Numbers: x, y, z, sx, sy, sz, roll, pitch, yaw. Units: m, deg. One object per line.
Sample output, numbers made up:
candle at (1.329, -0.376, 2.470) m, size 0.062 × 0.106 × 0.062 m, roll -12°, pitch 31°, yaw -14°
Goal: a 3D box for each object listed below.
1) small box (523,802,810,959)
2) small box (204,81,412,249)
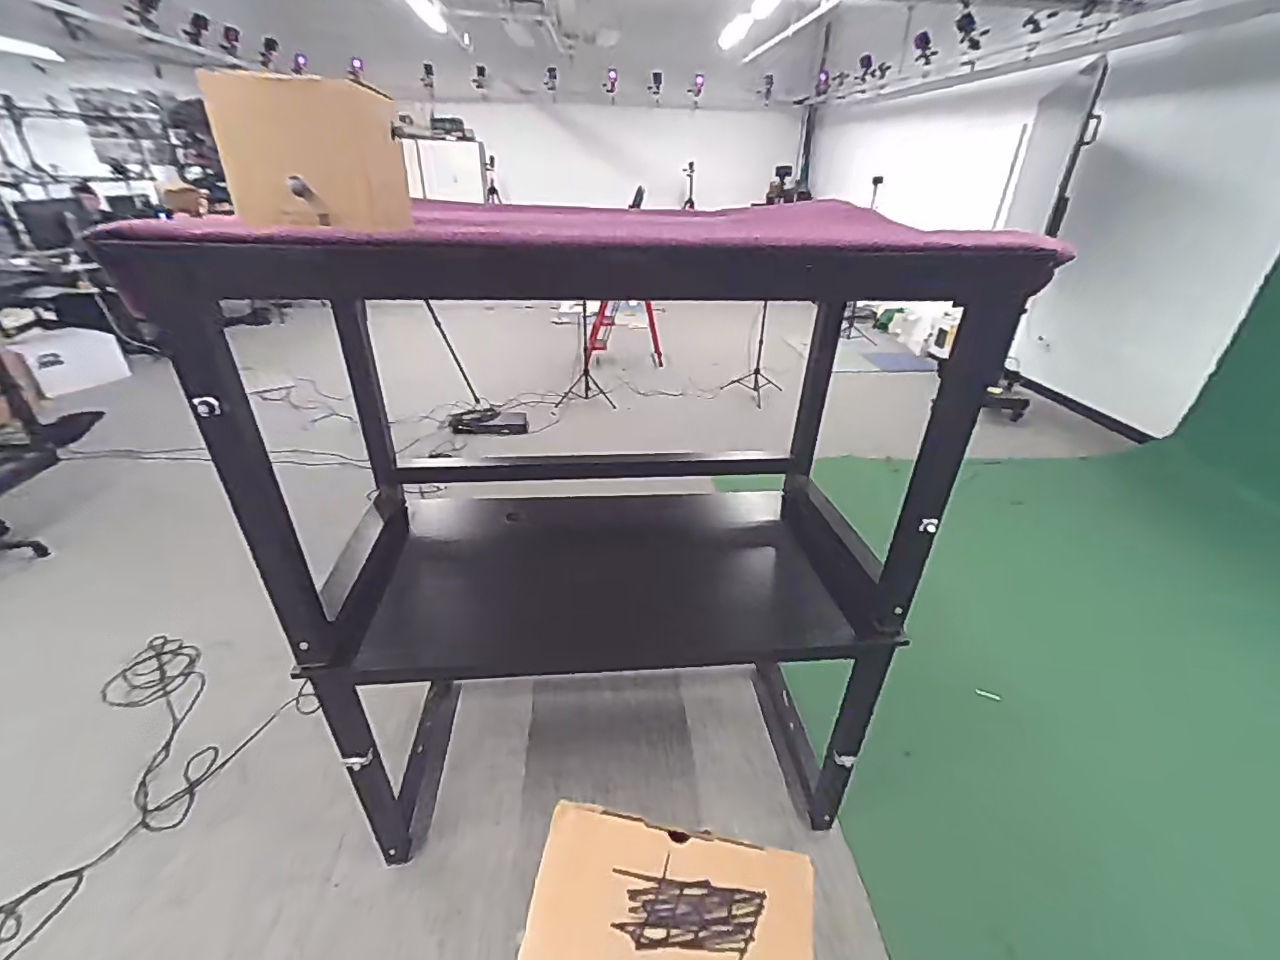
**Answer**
small box at (0.015, 0.343, 0.366) m, size 0.168 × 0.176 × 0.179 m, roll 6°, pitch 55°, yaw 11°
small box at (-0.417, -0.409, 0.718) m, size 0.168 × 0.176 × 0.179 m, roll -1°, pitch 29°, yaw -5°
